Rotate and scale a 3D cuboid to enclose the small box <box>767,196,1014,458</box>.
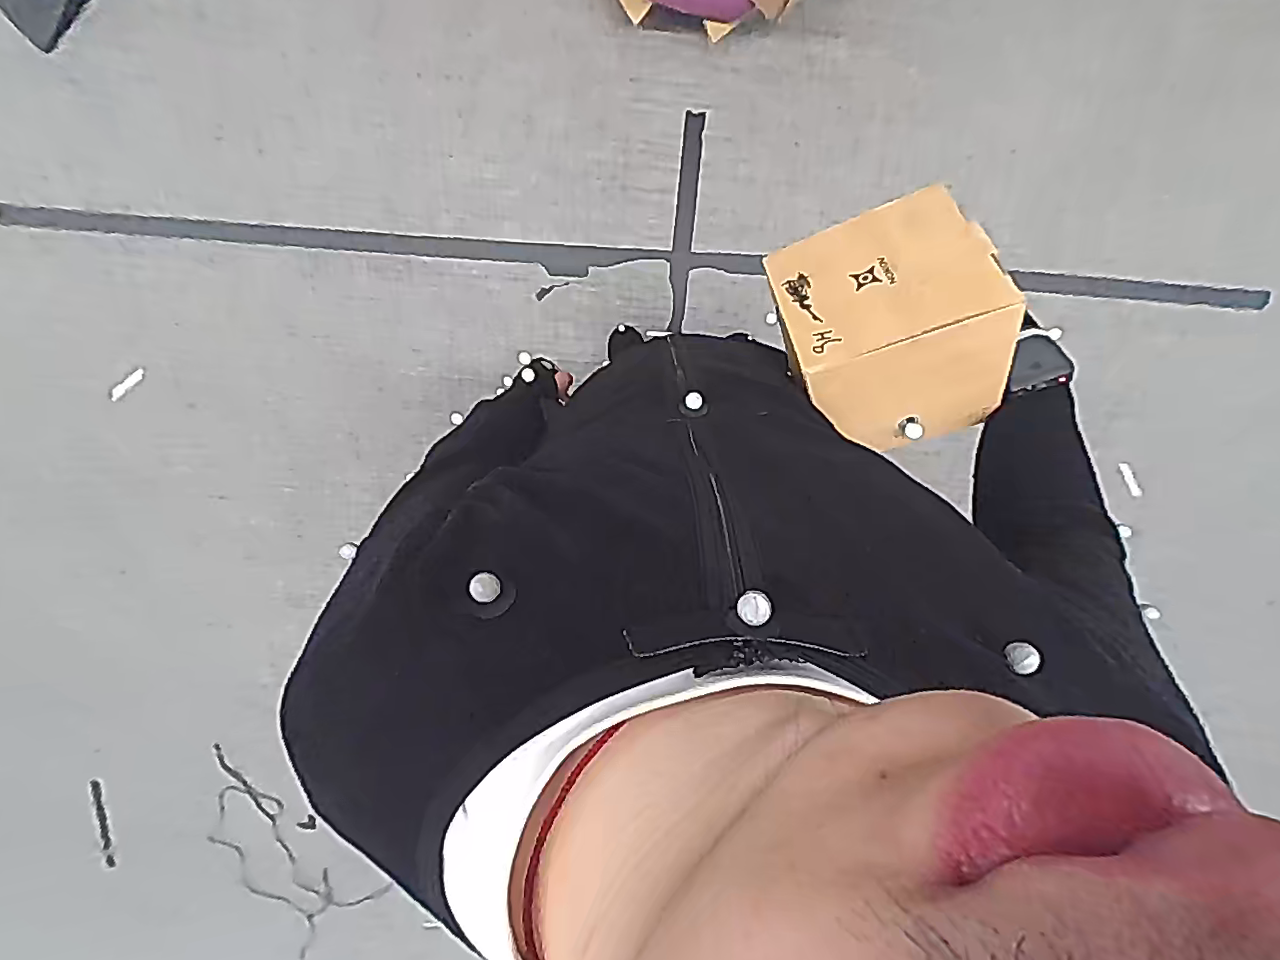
[{"bbox_3d":[0.249,-0.149,0.571,0.179,0.168,0.176,-17,146,16],"label":"small box"}]
